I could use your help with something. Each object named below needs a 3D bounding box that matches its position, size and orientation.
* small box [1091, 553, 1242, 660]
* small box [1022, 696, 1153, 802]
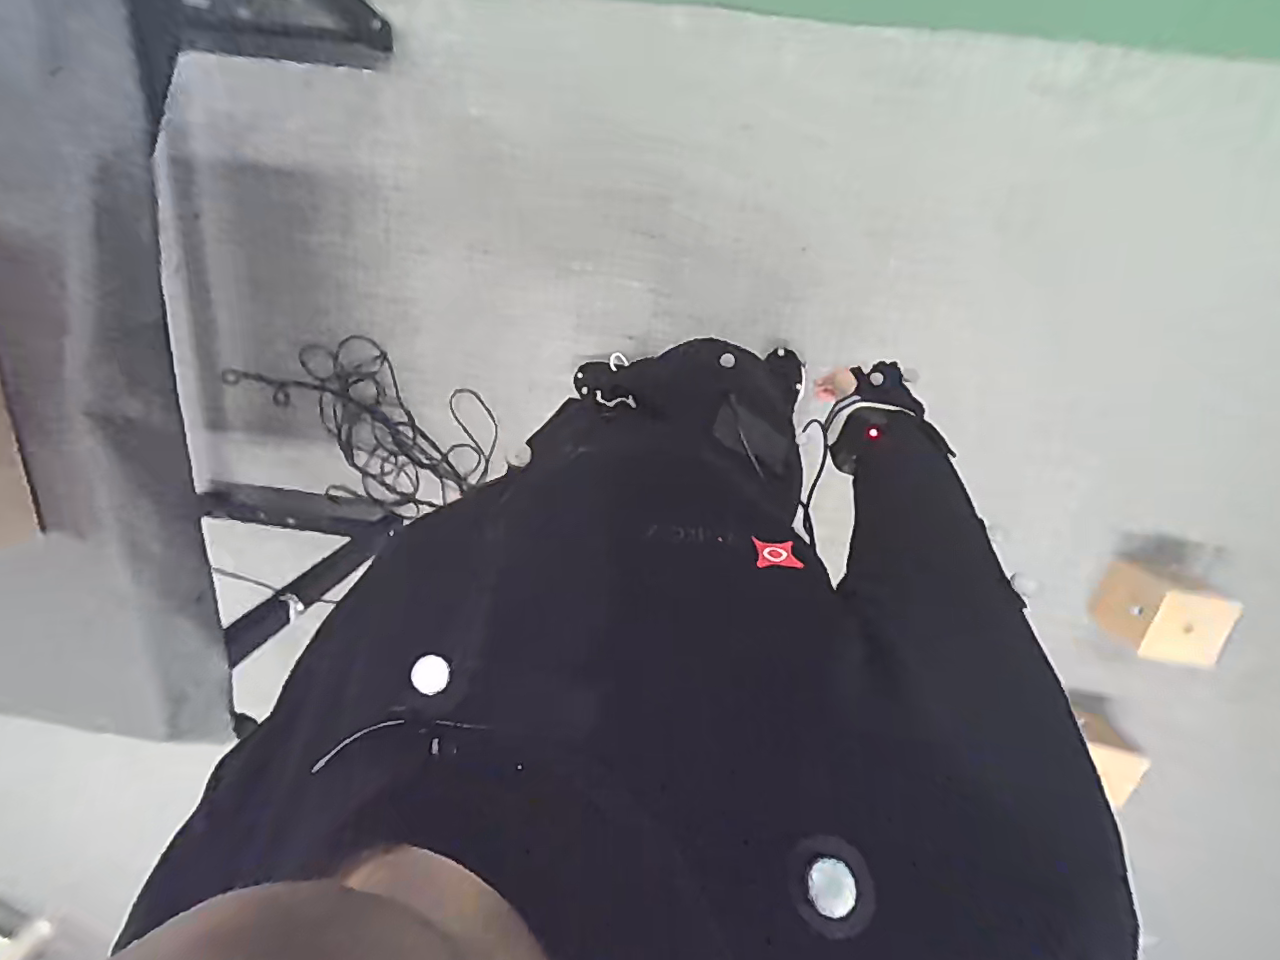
[{"bbox_3d":[1.231,0.295,1.284,0.168,0.176,0.179,8,108,3],"label":"small box"},{"bbox_3d":[1.160,0.698,1.419,0.179,0.176,0.168,11,110,0],"label":"small box"}]
